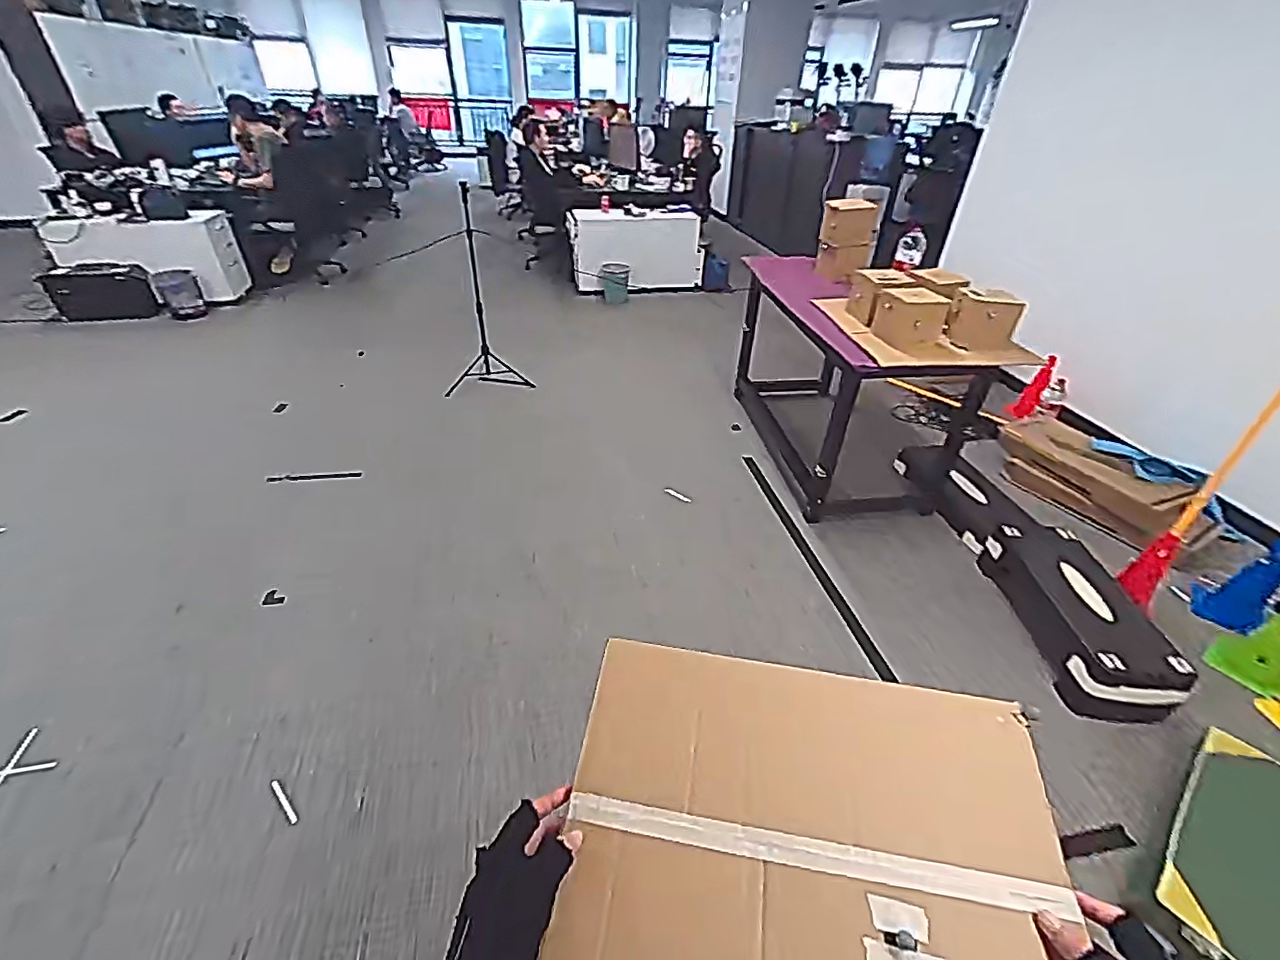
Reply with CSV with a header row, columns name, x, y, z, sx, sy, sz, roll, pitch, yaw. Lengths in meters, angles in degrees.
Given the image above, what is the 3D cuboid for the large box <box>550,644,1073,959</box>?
name,x,y,z,sx,sy,sz,roll,pitch,yaw
large box,0.145,0.410,0.579,0.408,0.320,0.320,7,50,8
